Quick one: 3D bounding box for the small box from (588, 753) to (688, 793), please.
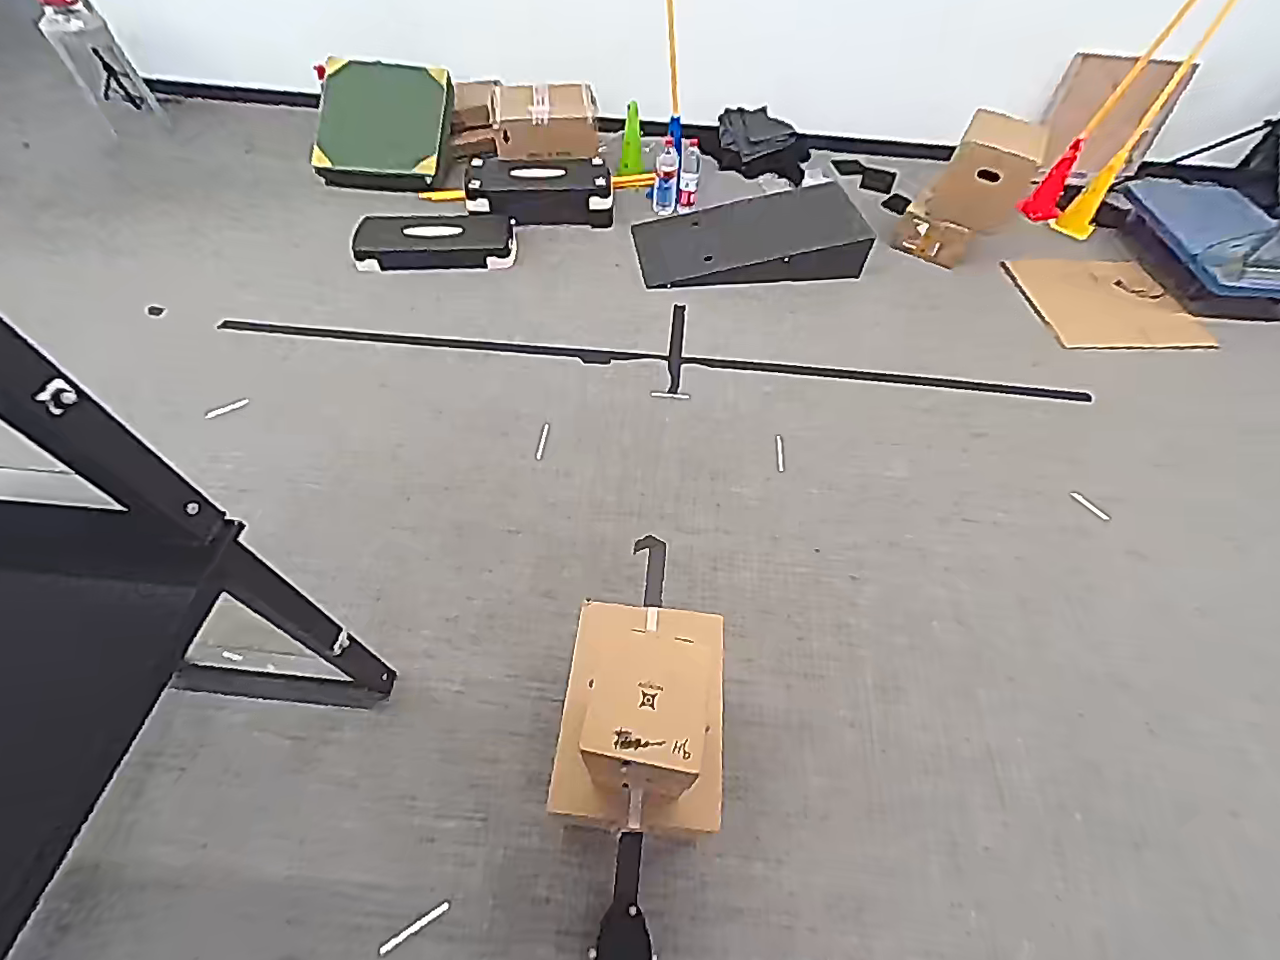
[{"bbox_3d":[0.009,0.431,0.952,0.168,0.176,0.179,9,55,4],"label":"small box"}]

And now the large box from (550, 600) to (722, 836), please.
[{"bbox_3d":[0.000,0.524,1.186,0.320,0.320,0.408,7,54,0],"label":"large box"}]

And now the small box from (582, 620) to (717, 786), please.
[{"bbox_3d":[0.015,0.339,0.817,0.168,0.176,0.179,10,53,6],"label":"small box"}]
